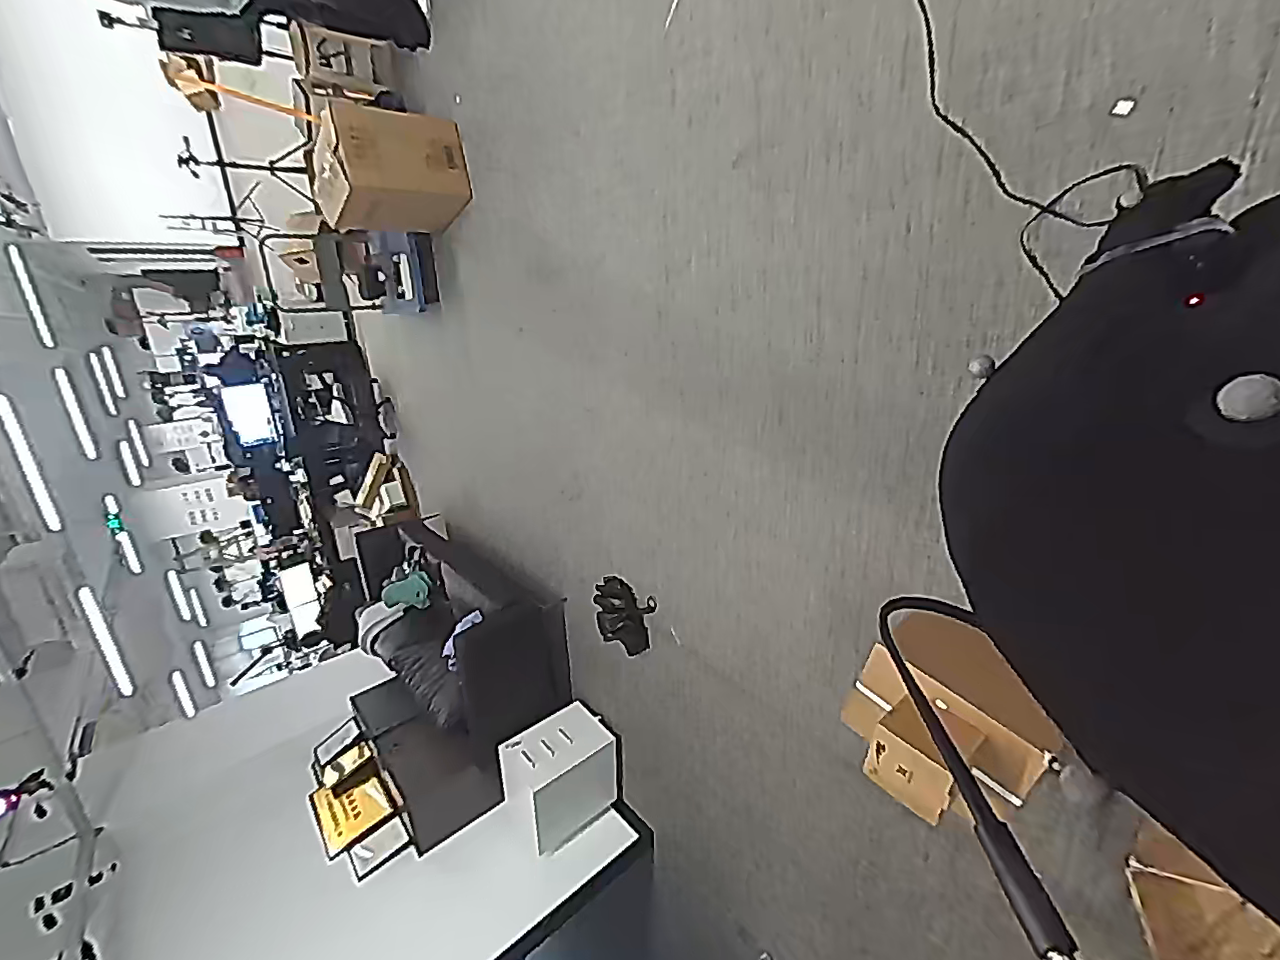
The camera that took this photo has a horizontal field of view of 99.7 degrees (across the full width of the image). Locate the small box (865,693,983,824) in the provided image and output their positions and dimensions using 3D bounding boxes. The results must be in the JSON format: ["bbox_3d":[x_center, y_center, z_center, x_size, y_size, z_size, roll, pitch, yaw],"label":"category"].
[{"bbox_3d":[0.658,0.632,1.251,0.179,0.176,0.168,27,123,43],"label":"small box"}]
